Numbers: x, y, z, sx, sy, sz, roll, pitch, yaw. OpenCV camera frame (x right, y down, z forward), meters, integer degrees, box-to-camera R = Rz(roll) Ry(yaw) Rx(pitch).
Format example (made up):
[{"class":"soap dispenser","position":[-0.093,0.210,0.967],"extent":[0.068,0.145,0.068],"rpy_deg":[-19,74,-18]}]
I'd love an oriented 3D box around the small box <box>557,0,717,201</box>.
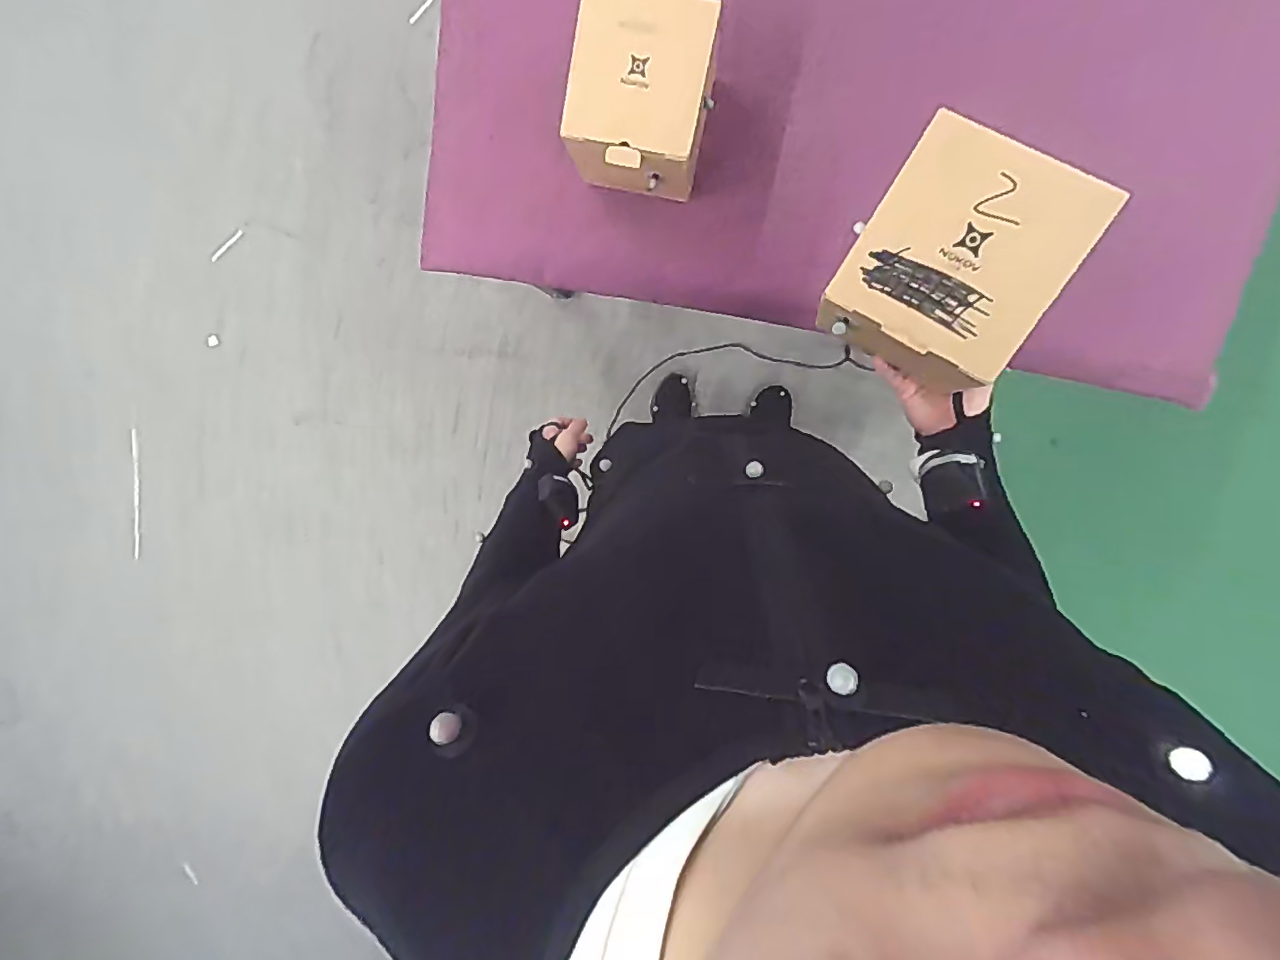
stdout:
[{"class":"small box","position":[0.002,-0.502,0.727],"extent":[0.168,0.176,0.179],"rpy_deg":[13,101,2]}]
